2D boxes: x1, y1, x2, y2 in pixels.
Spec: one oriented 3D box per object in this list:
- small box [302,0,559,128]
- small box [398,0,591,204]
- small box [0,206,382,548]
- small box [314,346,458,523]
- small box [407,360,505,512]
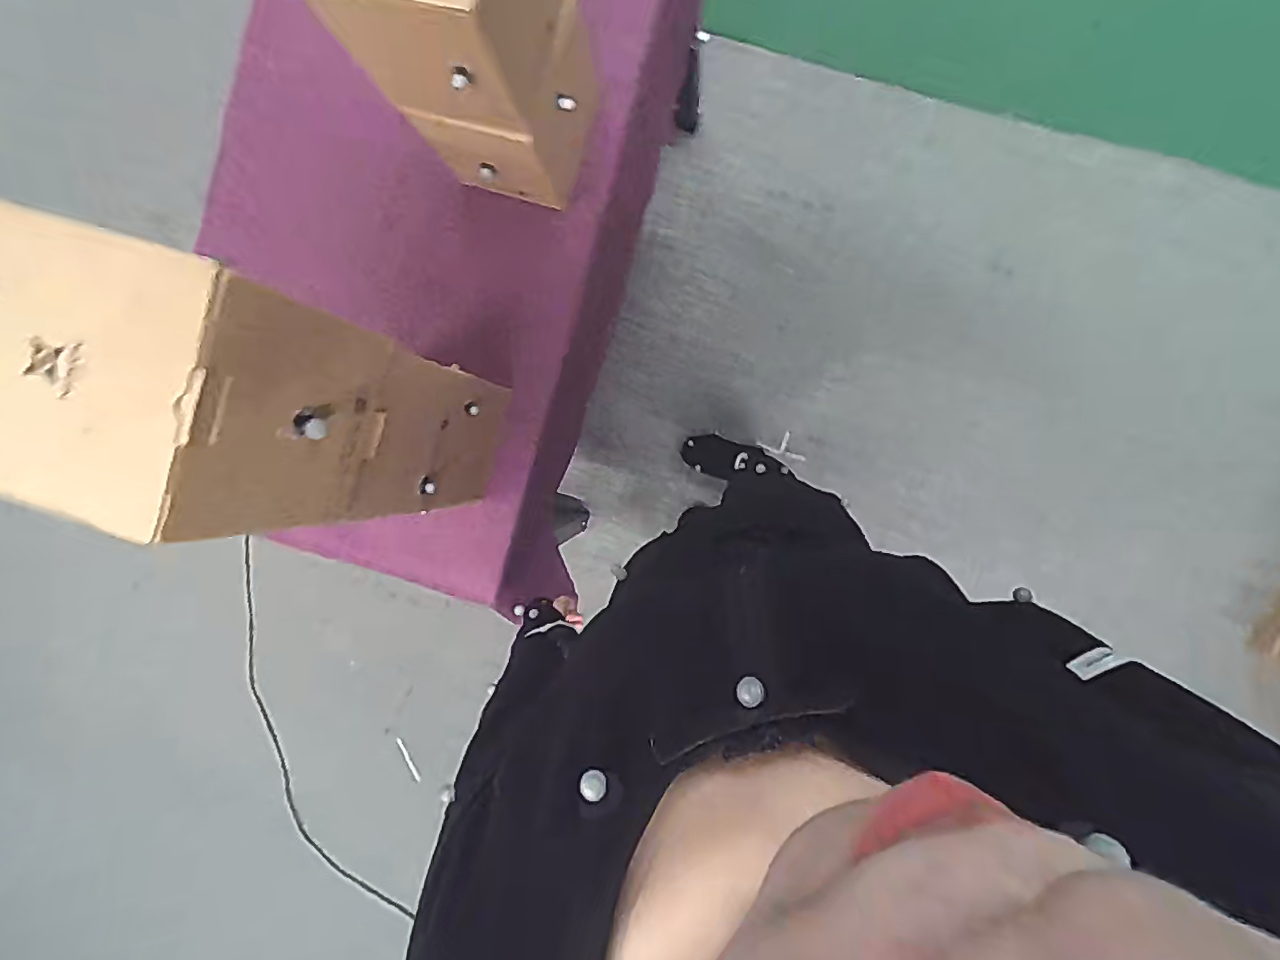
[{"bbox_3d":[-0.193,-0.486,0.530,0.179,0.176,0.168,16,93,6],"label":"small box"},{"bbox_3d":[-0.172,-0.489,0.692,0.168,0.176,0.179,18,94,4],"label":"small box"},{"bbox_3d":[-0.323,-0.064,0.392,0.179,0.176,0.168,16,92,4],"label":"small box"},{"bbox_3d":[-0.316,-0.065,0.557,0.179,0.176,0.168,16,92,6],"label":"small box"},{"bbox_3d":[-0.298,-0.068,0.720,0.168,0.176,0.179,16,93,5],"label":"small box"}]
